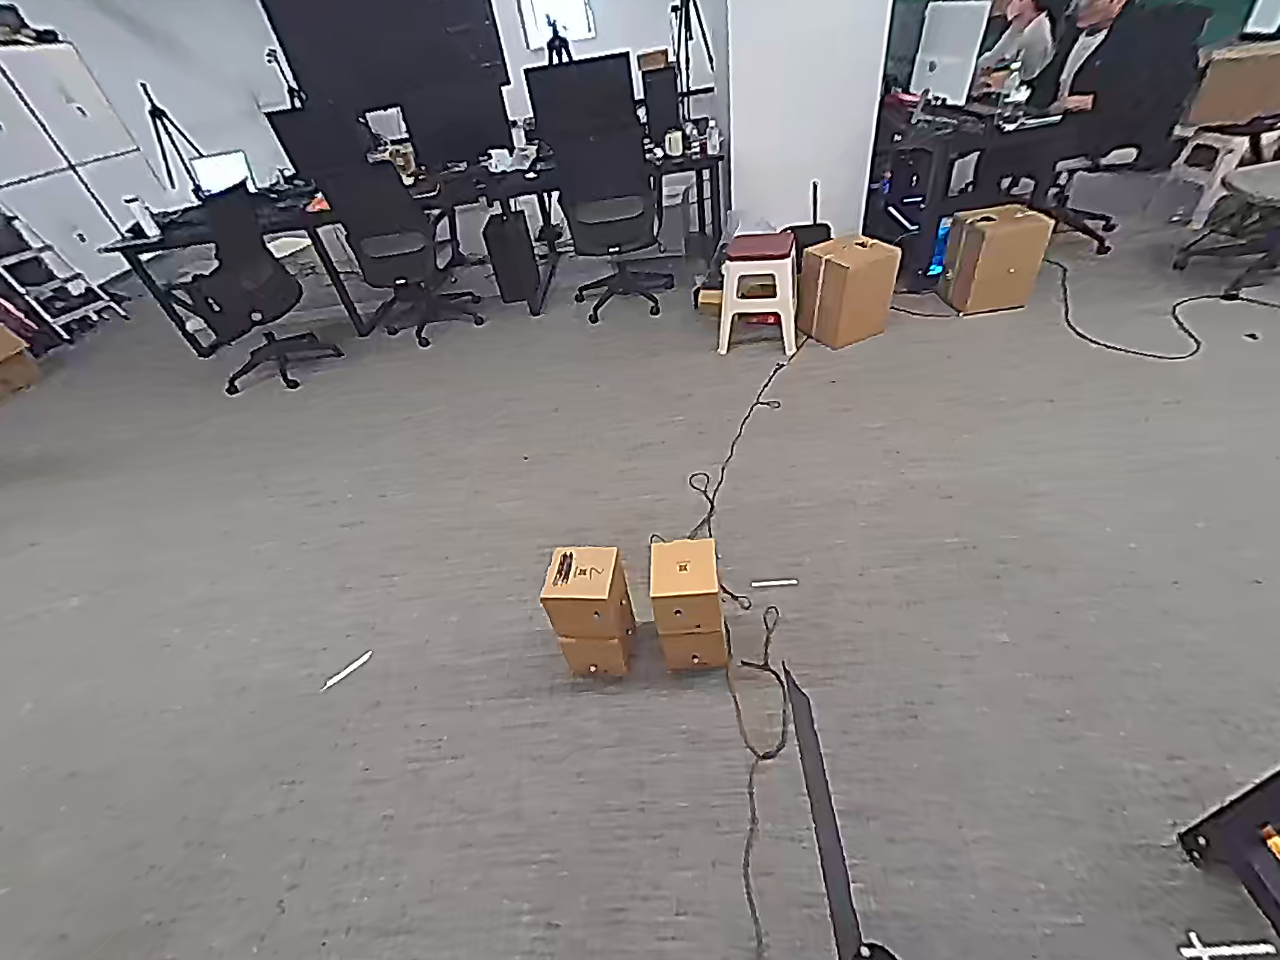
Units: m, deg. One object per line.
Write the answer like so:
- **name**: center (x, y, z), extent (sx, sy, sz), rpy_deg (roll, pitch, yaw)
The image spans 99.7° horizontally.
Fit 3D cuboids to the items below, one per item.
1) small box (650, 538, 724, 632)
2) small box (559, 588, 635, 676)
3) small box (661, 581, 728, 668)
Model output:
- **small box**: center (0.122, 0.274, 1.387), extent (0.168, 0.176, 0.179), rpy_deg (-6, 40, 8)
- **small box**: center (-0.112, 0.425, 1.517), extent (0.168, 0.176, 0.179), rpy_deg (-1, 42, 11)
- **small box**: center (0.150, 0.396, 1.491), extent (0.168, 0.176, 0.179), rpy_deg (-6, 41, 8)
